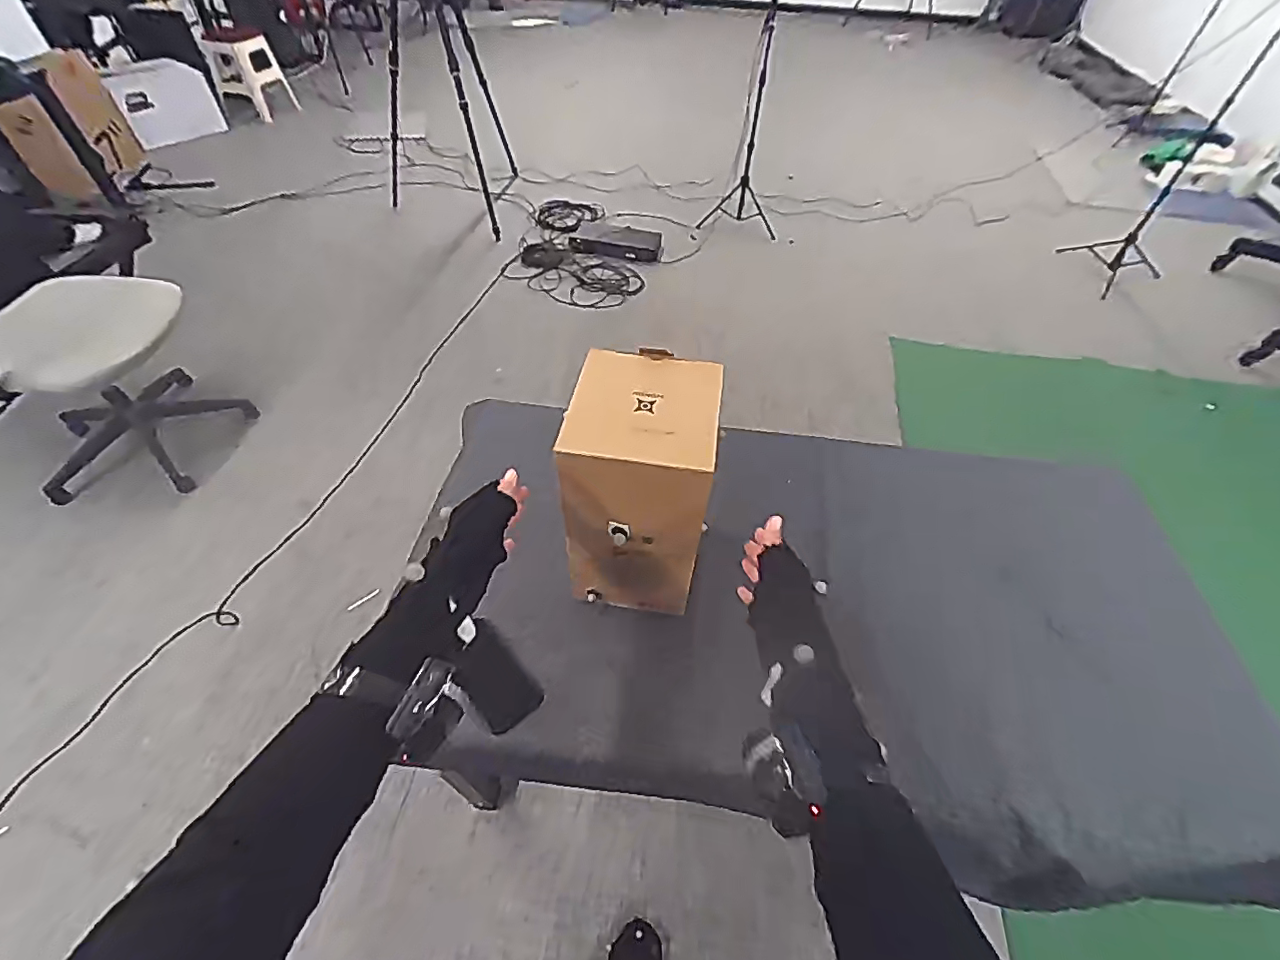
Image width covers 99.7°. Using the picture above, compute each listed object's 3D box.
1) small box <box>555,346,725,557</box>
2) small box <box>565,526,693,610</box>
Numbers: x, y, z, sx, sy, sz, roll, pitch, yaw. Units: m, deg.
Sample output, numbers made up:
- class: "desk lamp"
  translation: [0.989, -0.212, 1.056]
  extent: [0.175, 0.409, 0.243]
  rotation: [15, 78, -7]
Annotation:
- class: "small box"
  translation: [0.003, -0.033, 0.657]
  extent: [0.168, 0.176, 0.179]
  rotation: [9, 51, 5]
- class: "small box"
  translation: [-0.002, 0.068, 0.785]
  extent: [0.168, 0.176, 0.179]
  rotation: [9, 49, 5]
